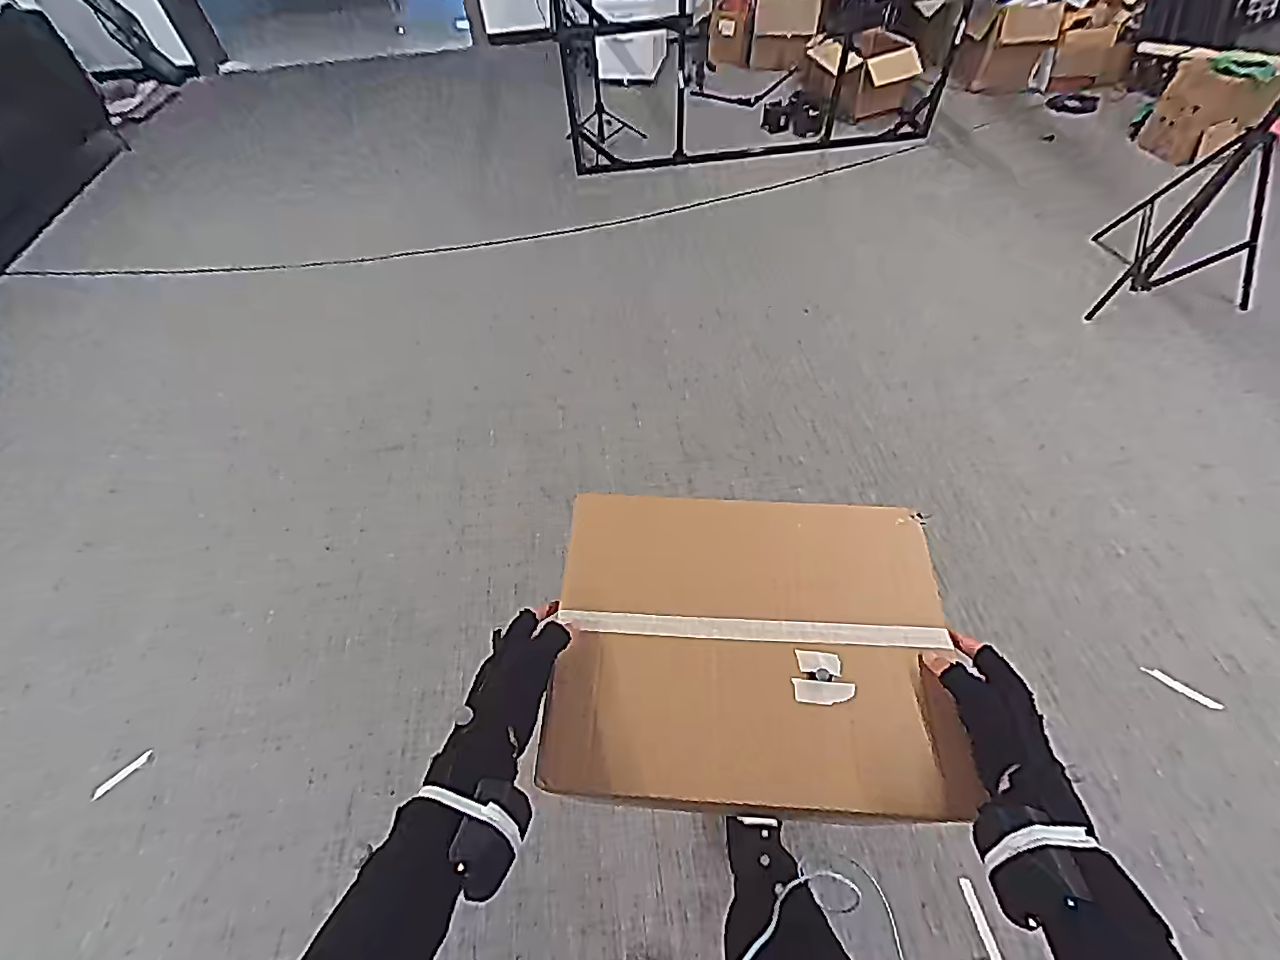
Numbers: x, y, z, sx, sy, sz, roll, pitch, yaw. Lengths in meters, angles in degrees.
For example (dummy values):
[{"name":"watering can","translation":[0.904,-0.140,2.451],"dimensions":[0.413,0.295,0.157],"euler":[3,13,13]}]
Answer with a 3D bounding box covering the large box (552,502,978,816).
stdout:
[{"name":"large box","translation":[0.122,0.243,0.705],"dimensions":[0.408,0.320,0.320],"euler":[3,57,3]}]
